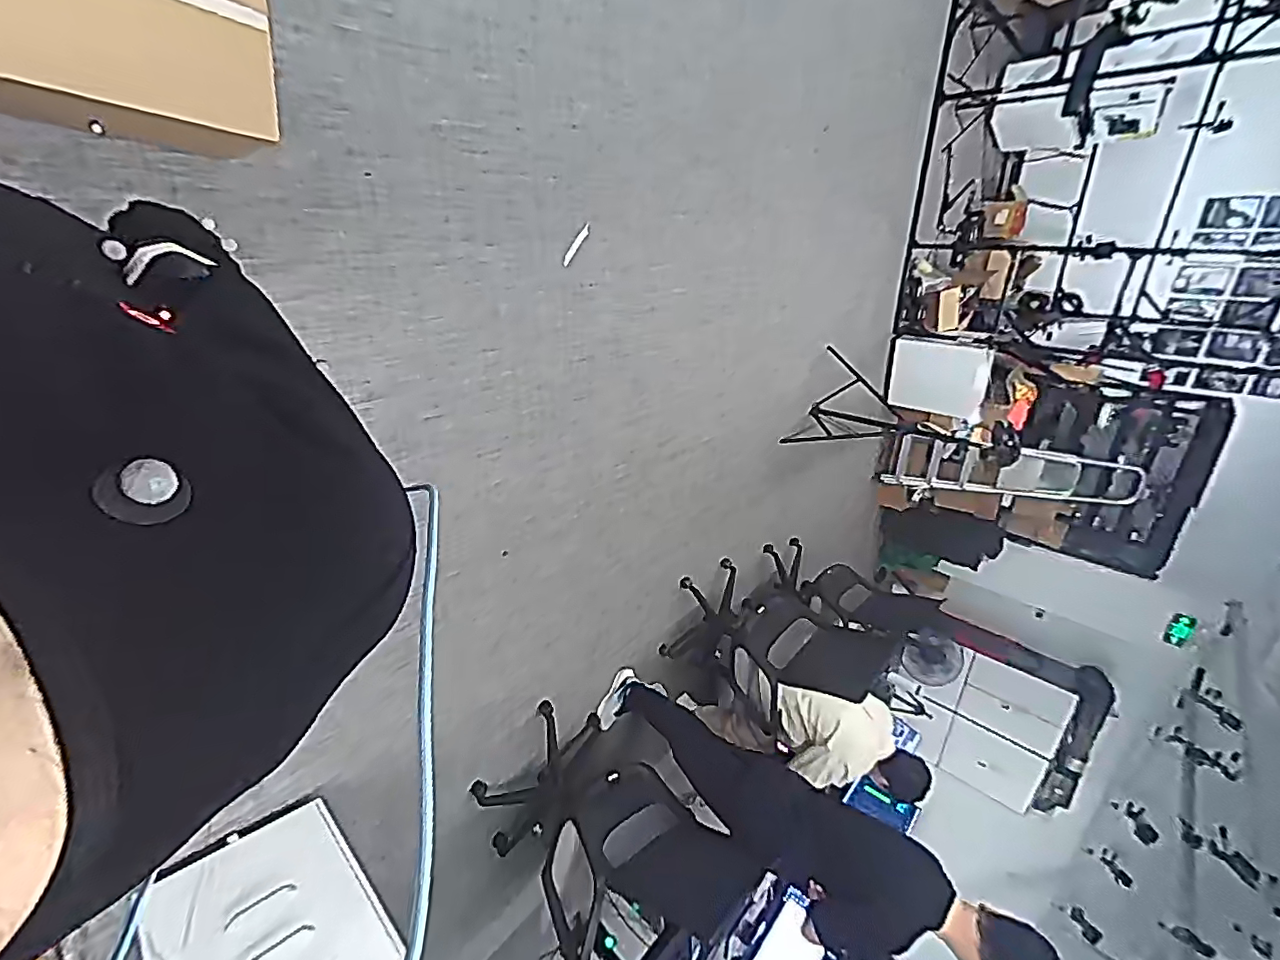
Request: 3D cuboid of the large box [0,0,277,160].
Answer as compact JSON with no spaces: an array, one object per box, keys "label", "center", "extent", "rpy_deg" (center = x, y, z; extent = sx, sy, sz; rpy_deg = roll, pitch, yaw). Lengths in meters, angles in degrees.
[{"label":"large box","center":[-0.813,-0.685,0.766],"extent":[0.408,0.320,0.320],"rpy_deg":[-16,118,-47]}]
